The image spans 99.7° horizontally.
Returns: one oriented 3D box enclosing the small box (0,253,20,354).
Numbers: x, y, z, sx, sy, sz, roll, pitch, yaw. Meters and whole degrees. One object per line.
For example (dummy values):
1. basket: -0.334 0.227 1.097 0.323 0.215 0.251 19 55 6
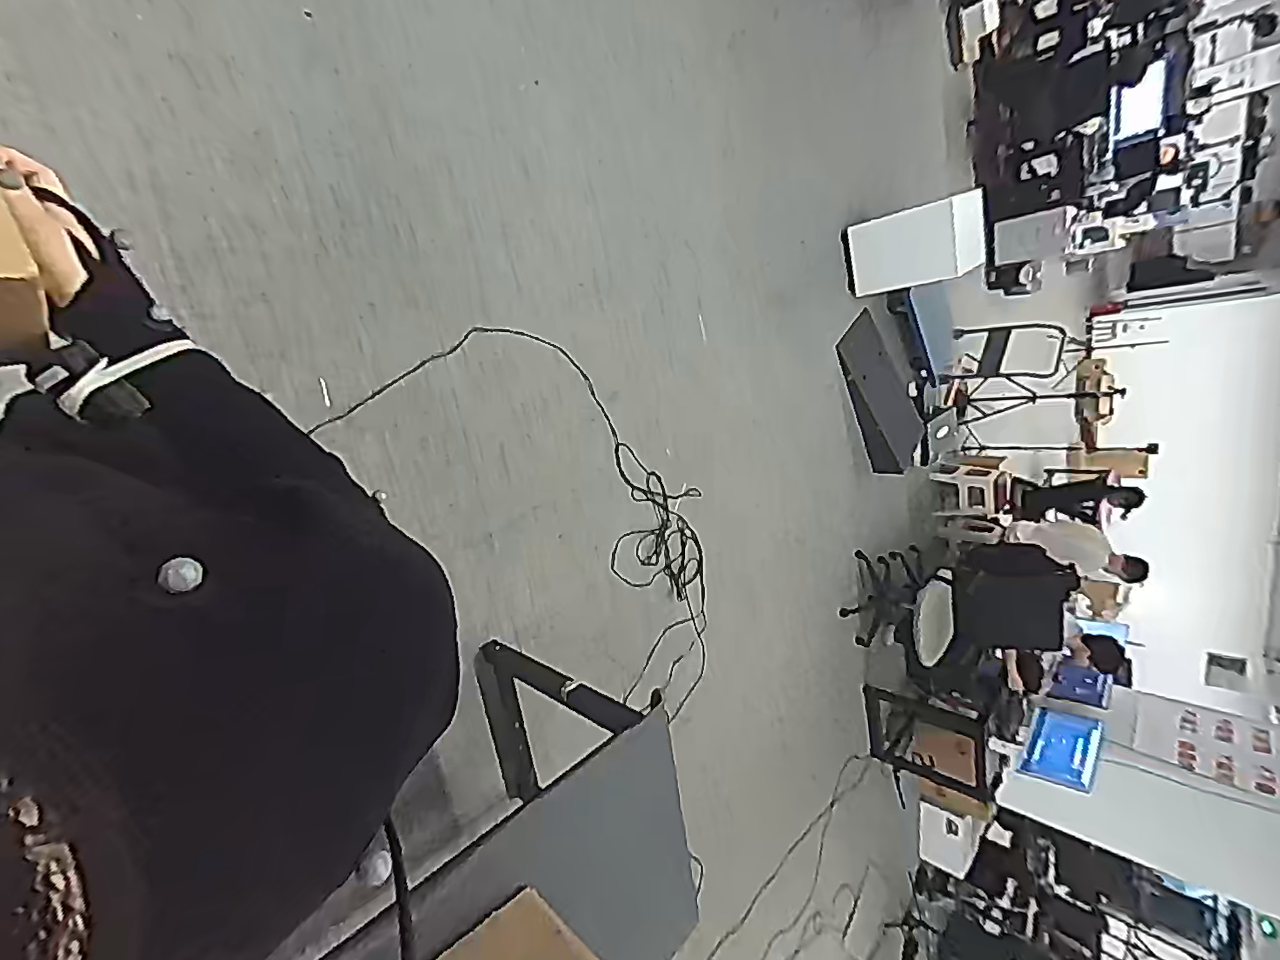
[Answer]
1. small box: -0.481 -0.162 0.286 0.168 0.176 0.179 -25 100 -47
